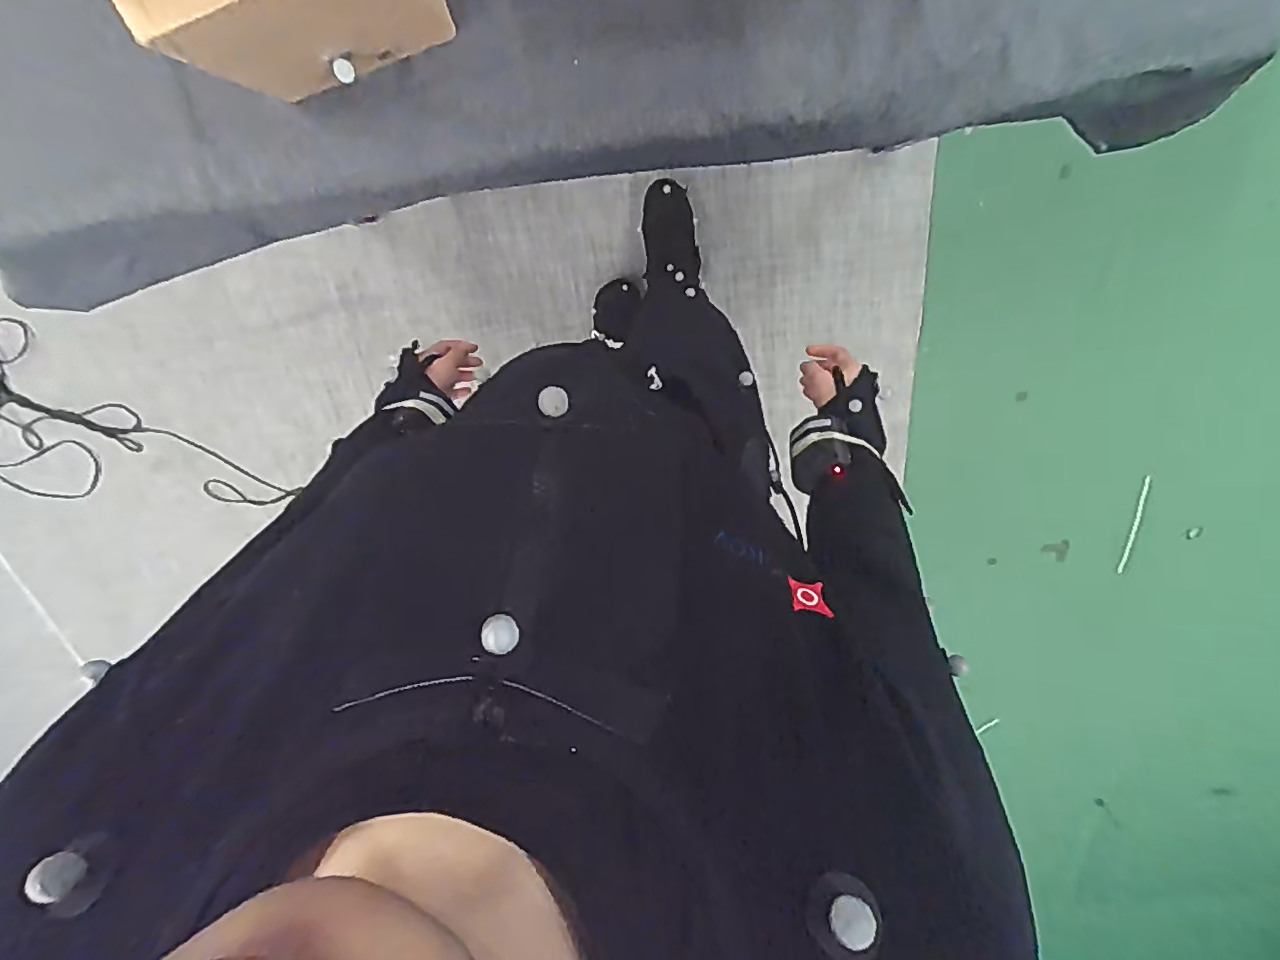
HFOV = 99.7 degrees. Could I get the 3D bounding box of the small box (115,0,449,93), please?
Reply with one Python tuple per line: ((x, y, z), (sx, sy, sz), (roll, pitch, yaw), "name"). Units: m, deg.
((-0.256, -0.400, 0.361), (0.168, 0.176, 0.179), (-16, 115, 6), "small box")
